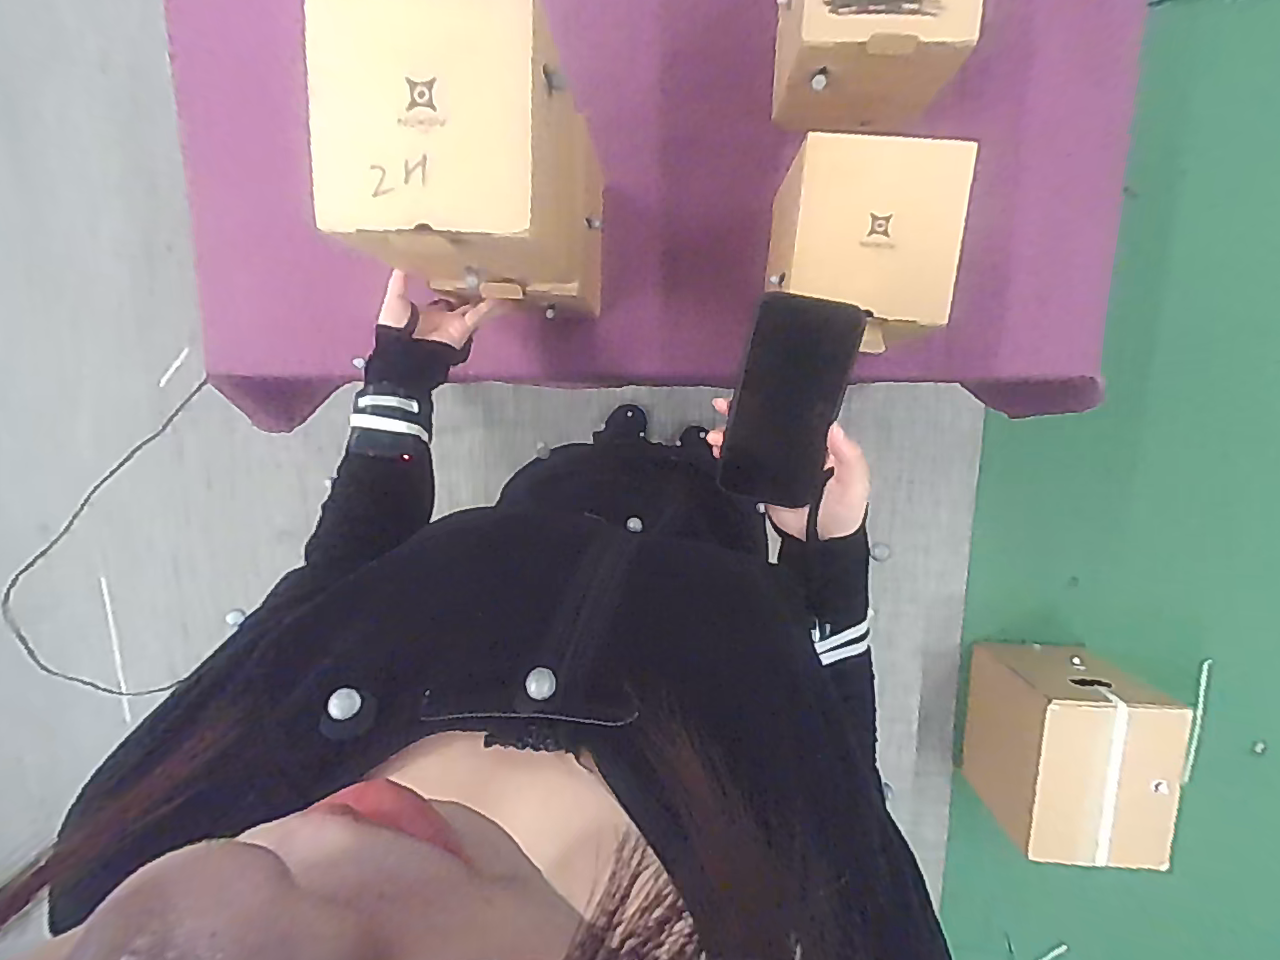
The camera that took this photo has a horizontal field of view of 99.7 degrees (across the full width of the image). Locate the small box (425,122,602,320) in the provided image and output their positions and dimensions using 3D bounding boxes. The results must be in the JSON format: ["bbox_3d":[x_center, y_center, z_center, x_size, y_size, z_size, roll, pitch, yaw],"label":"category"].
[{"bbox_3d":[-0.138,-0.291,0.637,0.168,0.176,0.179,4,98,2],"label":"small box"}]

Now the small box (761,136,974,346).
[{"bbox_3d":[0.241,-0.256,0.620,0.168,0.176,0.179,6,99,3],"label":"small box"}]

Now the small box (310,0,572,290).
[{"bbox_3d":[-0.156,-0.279,0.473,0.168,0.176,0.179,4,98,3],"label":"small box"}]
